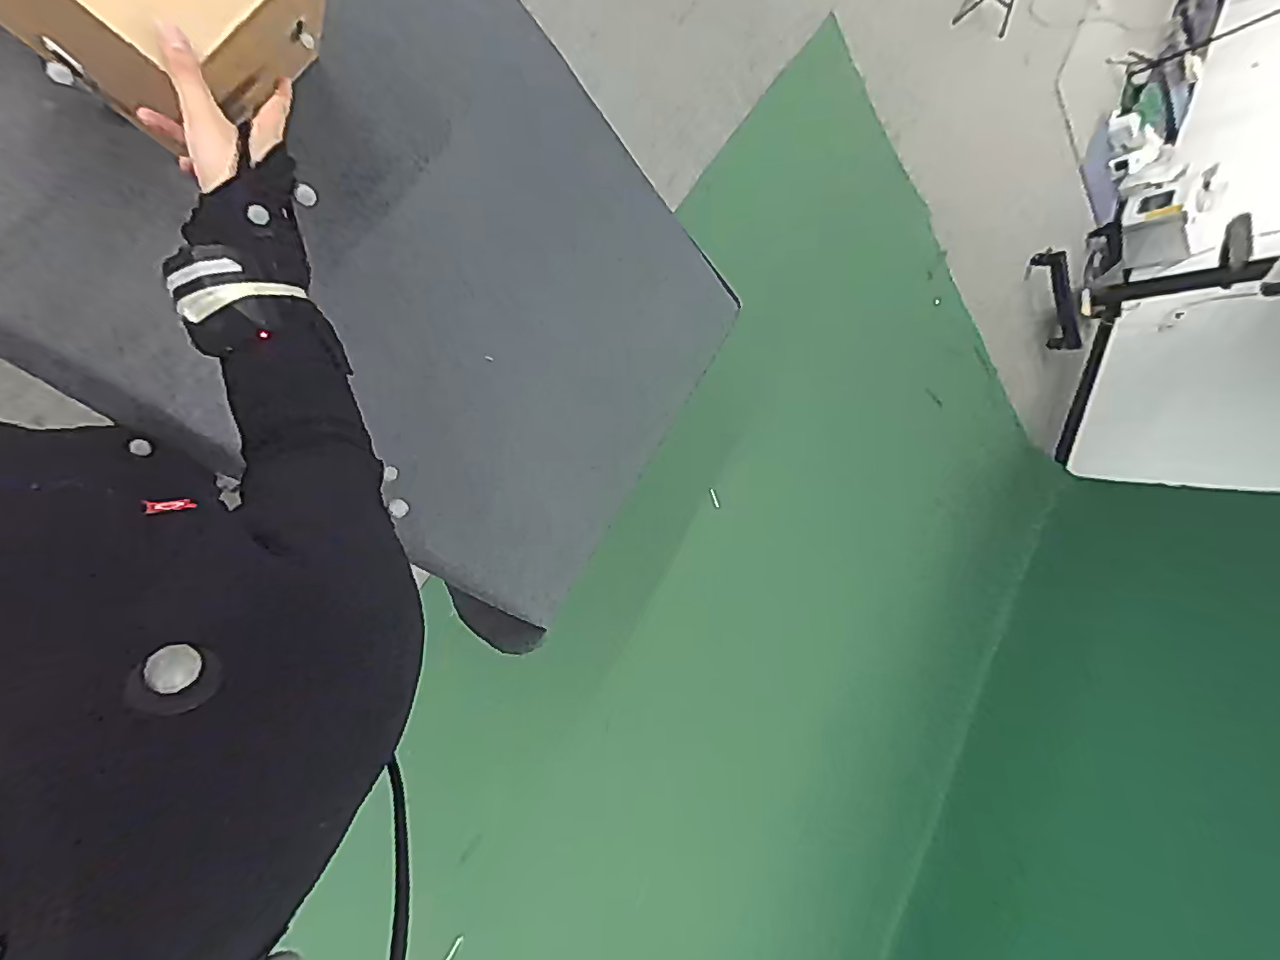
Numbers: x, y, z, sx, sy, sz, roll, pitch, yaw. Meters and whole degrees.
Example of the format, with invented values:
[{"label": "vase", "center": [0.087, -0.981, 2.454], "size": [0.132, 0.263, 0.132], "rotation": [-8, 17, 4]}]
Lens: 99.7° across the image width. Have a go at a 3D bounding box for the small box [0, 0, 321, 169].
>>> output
[{"label": "small box", "center": [-0.373, -0.389, 0.414], "size": [0.168, 0.176, 0.179], "rotation": [36, 74, -31]}]
